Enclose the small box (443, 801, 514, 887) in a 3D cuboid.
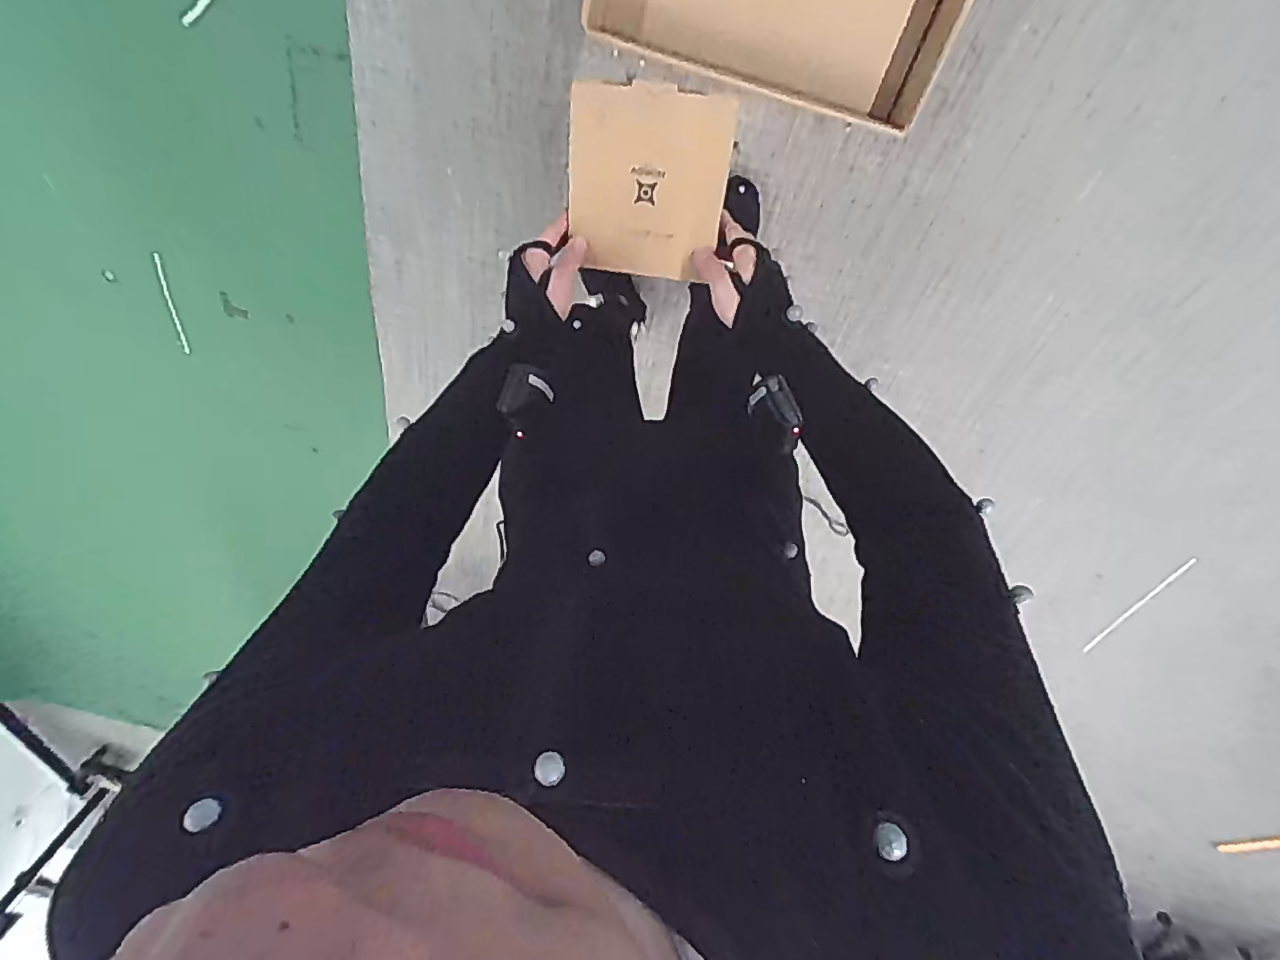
[{"bbox_3d":[-0.508,1.149,1.710,0.168,0.176,0.179,15,130,-2],"label":"small box"}]
